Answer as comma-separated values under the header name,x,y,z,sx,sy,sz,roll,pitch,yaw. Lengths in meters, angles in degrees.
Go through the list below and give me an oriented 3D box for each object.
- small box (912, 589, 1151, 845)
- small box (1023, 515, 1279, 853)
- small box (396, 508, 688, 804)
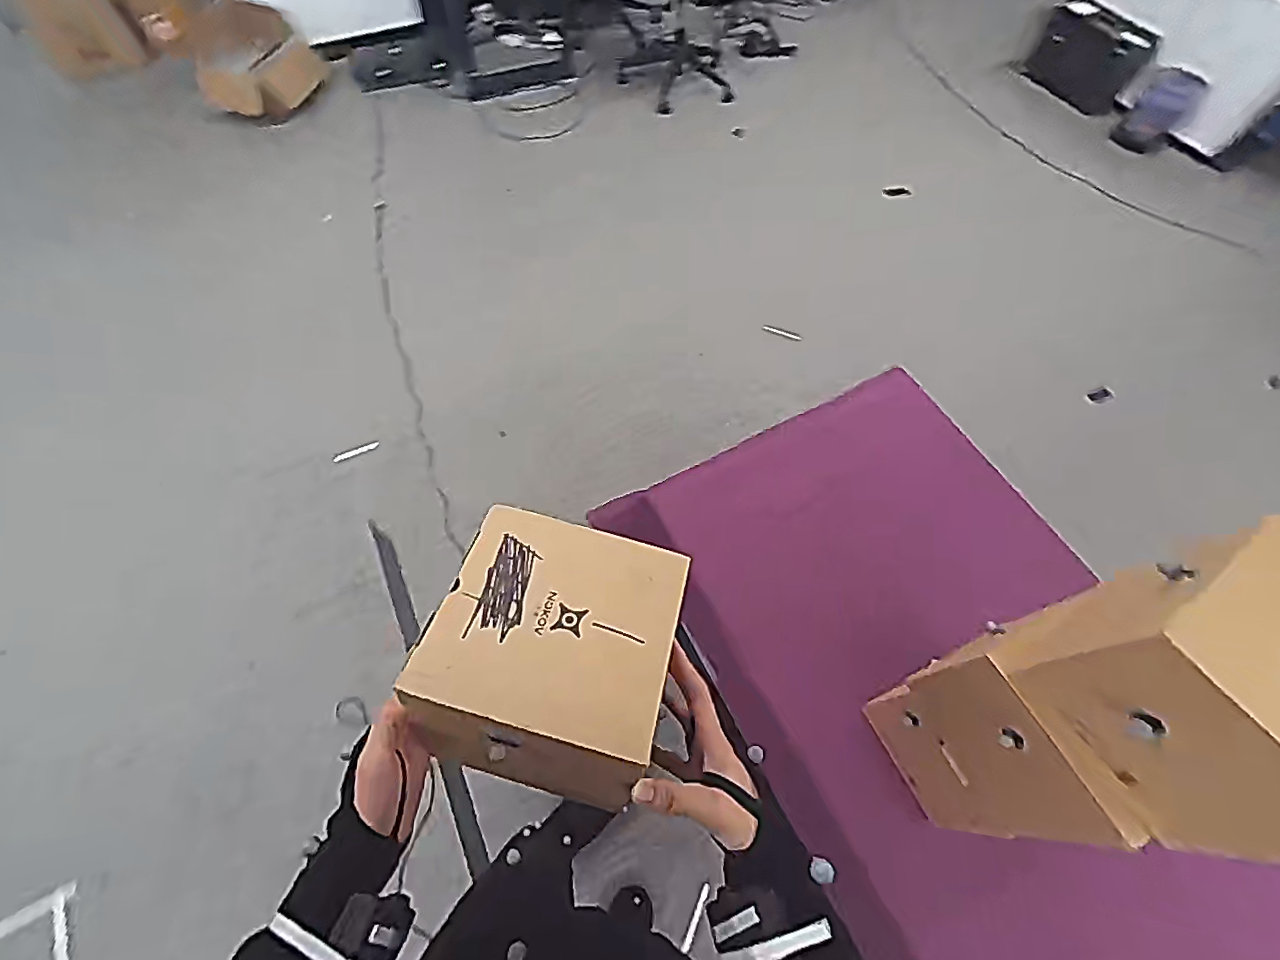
name,x,y,z,sx,sy,sz,roll,pitch,yaw
small box,0.431,0.245,0.567,0.168,0.176,0.179,-21,64,-13
small box,0.455,0.164,0.427,0.179,0.176,0.168,-28,66,-18
small box,-0.072,0.155,0.463,0.179,0.176,0.168,16,49,2
